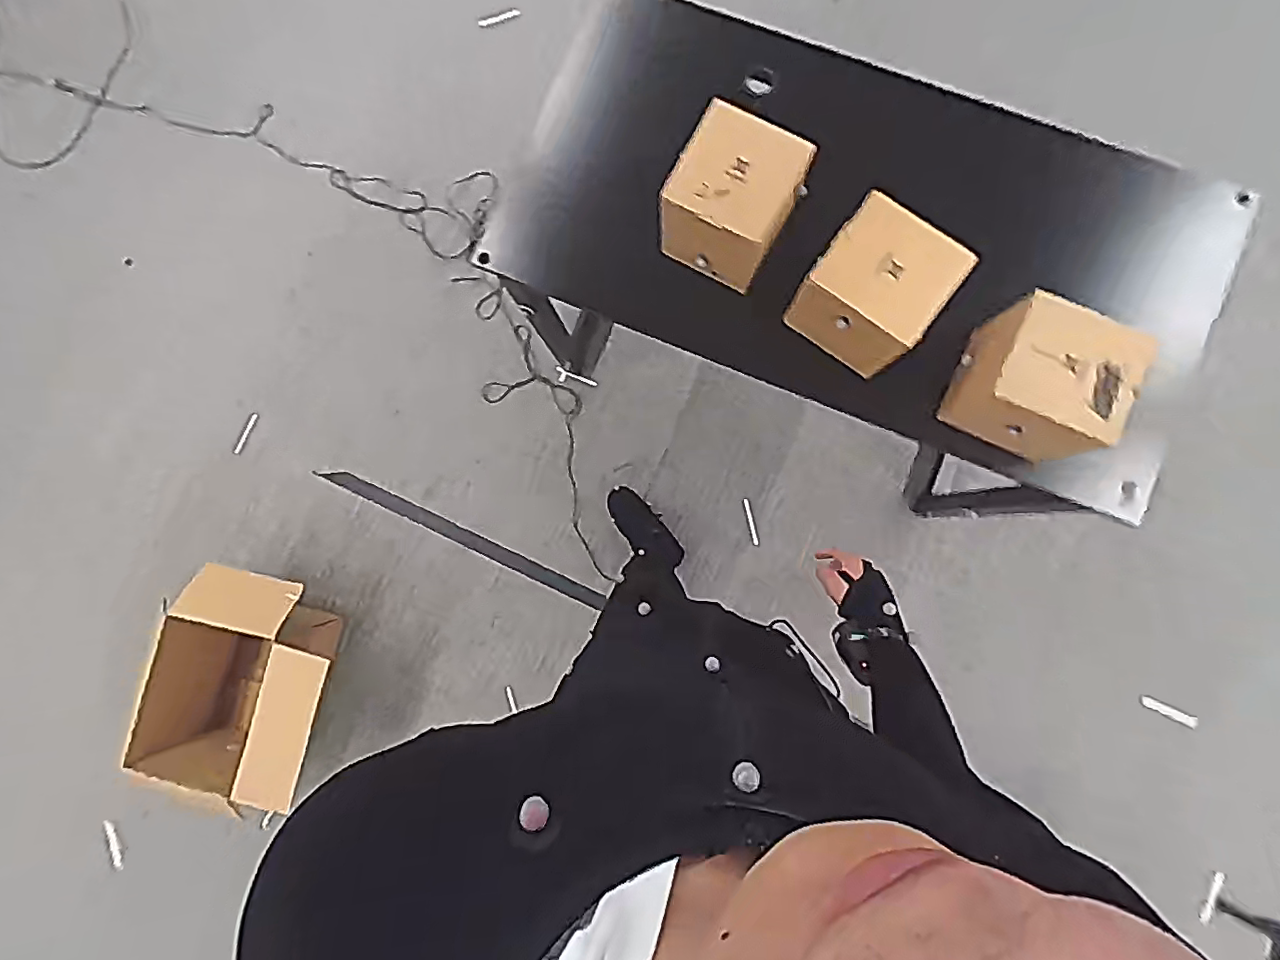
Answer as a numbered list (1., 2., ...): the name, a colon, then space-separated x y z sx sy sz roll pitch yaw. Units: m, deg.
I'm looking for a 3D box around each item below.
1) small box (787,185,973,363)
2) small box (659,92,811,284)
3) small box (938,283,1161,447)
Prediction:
1. small box: 0.356 -0.302 0.840 0.179 0.176 0.168 36 88 6
2. small box: 0.141 -0.452 0.863 0.168 0.176 0.179 28 88 5
3. small box: 0.596 -0.158 0.812 0.179 0.176 0.168 25 87 6
